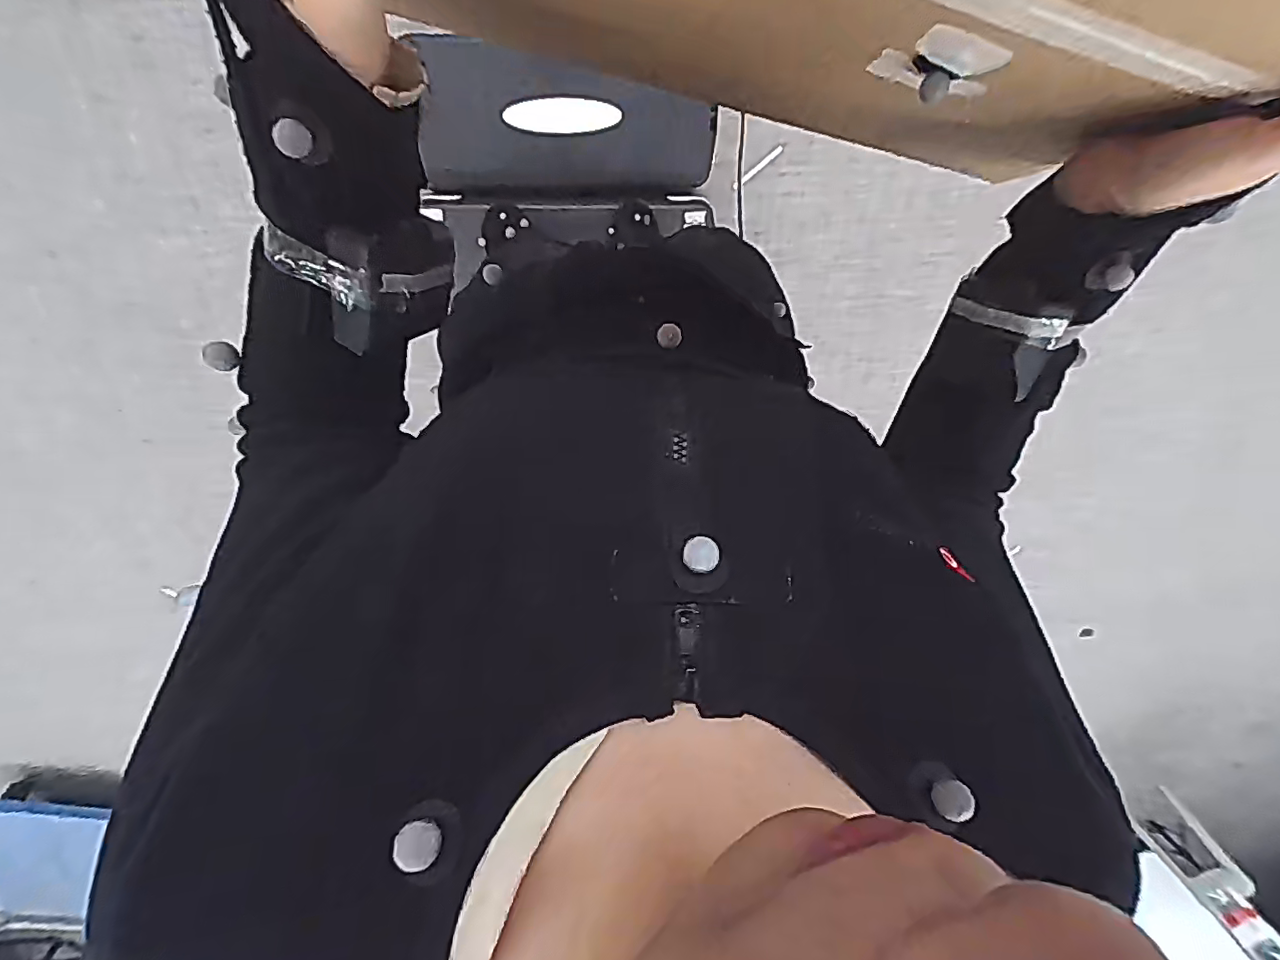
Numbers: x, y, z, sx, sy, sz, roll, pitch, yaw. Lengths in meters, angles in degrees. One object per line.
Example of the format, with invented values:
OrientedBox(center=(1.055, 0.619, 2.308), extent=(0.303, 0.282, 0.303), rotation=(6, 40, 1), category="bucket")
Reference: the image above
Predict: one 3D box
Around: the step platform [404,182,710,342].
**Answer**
OrientedBox(center=(-0.180, -0.501, 1.265), extent=(0.684, 0.204, 0.286), rotation=(3, 120, -6), category="step platform")
